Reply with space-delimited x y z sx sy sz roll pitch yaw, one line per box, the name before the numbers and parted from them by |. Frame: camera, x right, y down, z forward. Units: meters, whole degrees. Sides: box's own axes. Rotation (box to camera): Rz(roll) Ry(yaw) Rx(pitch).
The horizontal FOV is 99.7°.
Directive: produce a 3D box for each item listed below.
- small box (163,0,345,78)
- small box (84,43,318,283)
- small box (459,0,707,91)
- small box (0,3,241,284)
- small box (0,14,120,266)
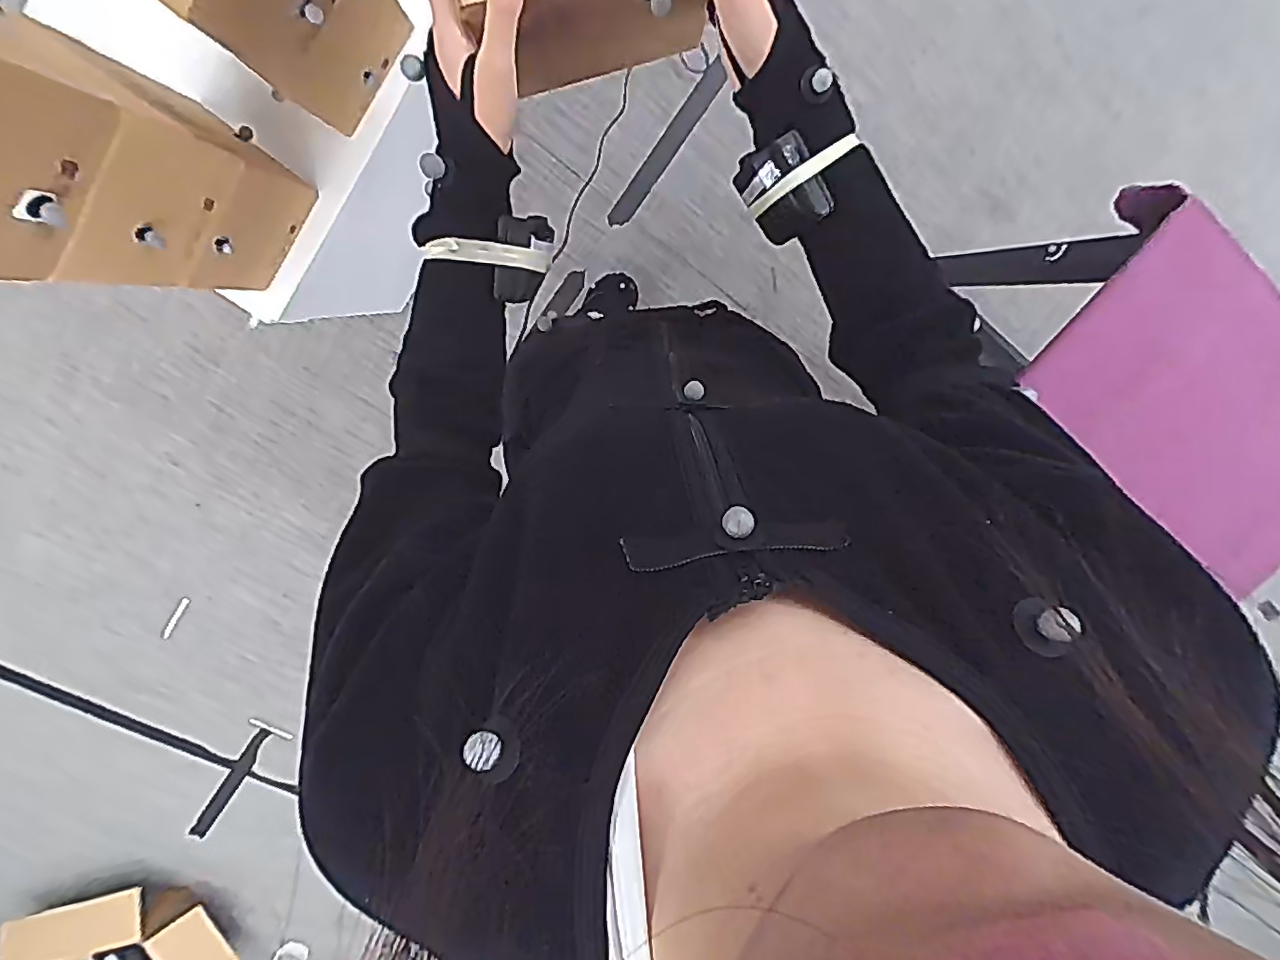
small box | -0.372 -0.491 0.450 0.179 0.176 0.168 36 103 -16
small box | -0.543 -0.355 0.654 0.179 0.176 0.168 35 103 -14
small box | -0.046 -0.407 0.372 0.179 0.176 0.168 -14 108 4
small box | -0.528 -0.304 0.501 0.179 0.176 0.168 34 102 -14
small box | -0.515 -0.255 0.347 0.179 0.176 0.168 33 103 -15
